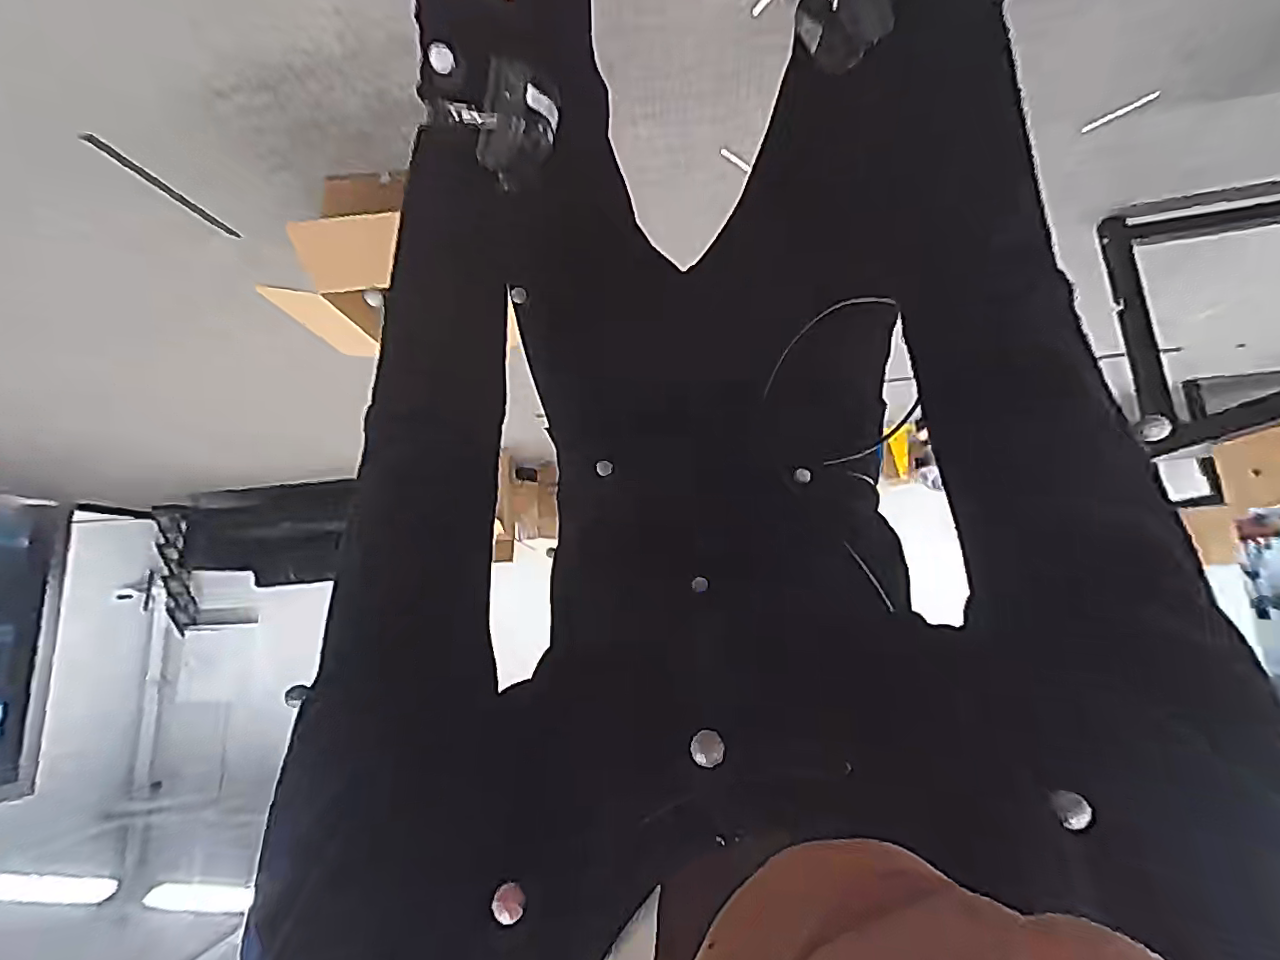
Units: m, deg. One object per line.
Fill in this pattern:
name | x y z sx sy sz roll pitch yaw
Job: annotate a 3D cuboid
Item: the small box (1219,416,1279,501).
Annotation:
small box | 1.476 -0.052 1.218 0.168 0.176 0.179 -6 168 7
